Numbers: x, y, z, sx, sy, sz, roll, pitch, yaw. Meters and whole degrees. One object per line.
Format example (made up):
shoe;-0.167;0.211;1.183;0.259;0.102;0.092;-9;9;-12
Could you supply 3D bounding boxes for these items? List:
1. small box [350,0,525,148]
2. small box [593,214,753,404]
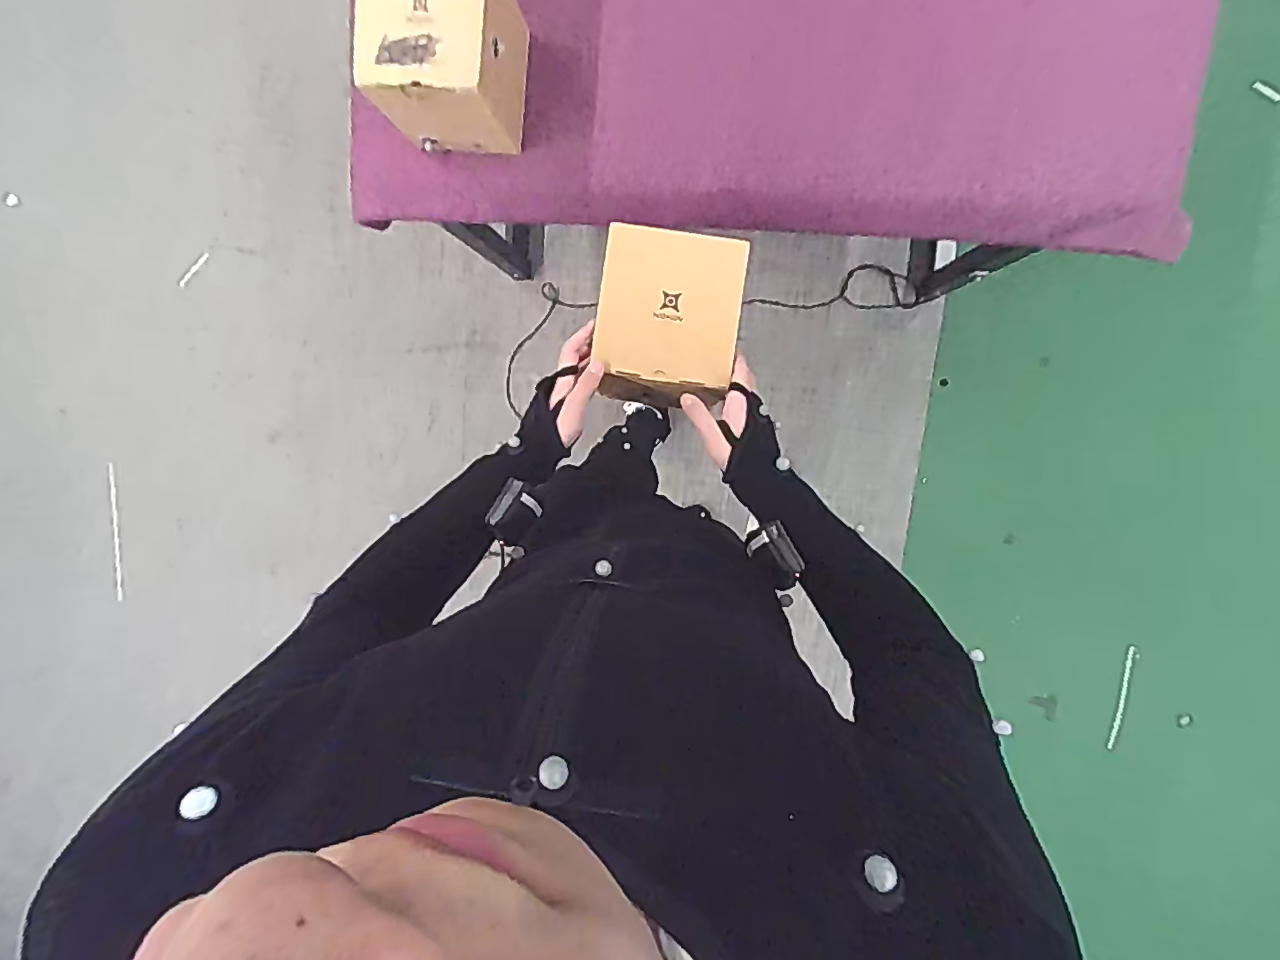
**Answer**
small box;-0.261;-0.578;0.728;0.168;0.176;0.179;6;97;4
small box;0.035;-0.206;0.696;0.168;0.176;0.179;8;90;-1
